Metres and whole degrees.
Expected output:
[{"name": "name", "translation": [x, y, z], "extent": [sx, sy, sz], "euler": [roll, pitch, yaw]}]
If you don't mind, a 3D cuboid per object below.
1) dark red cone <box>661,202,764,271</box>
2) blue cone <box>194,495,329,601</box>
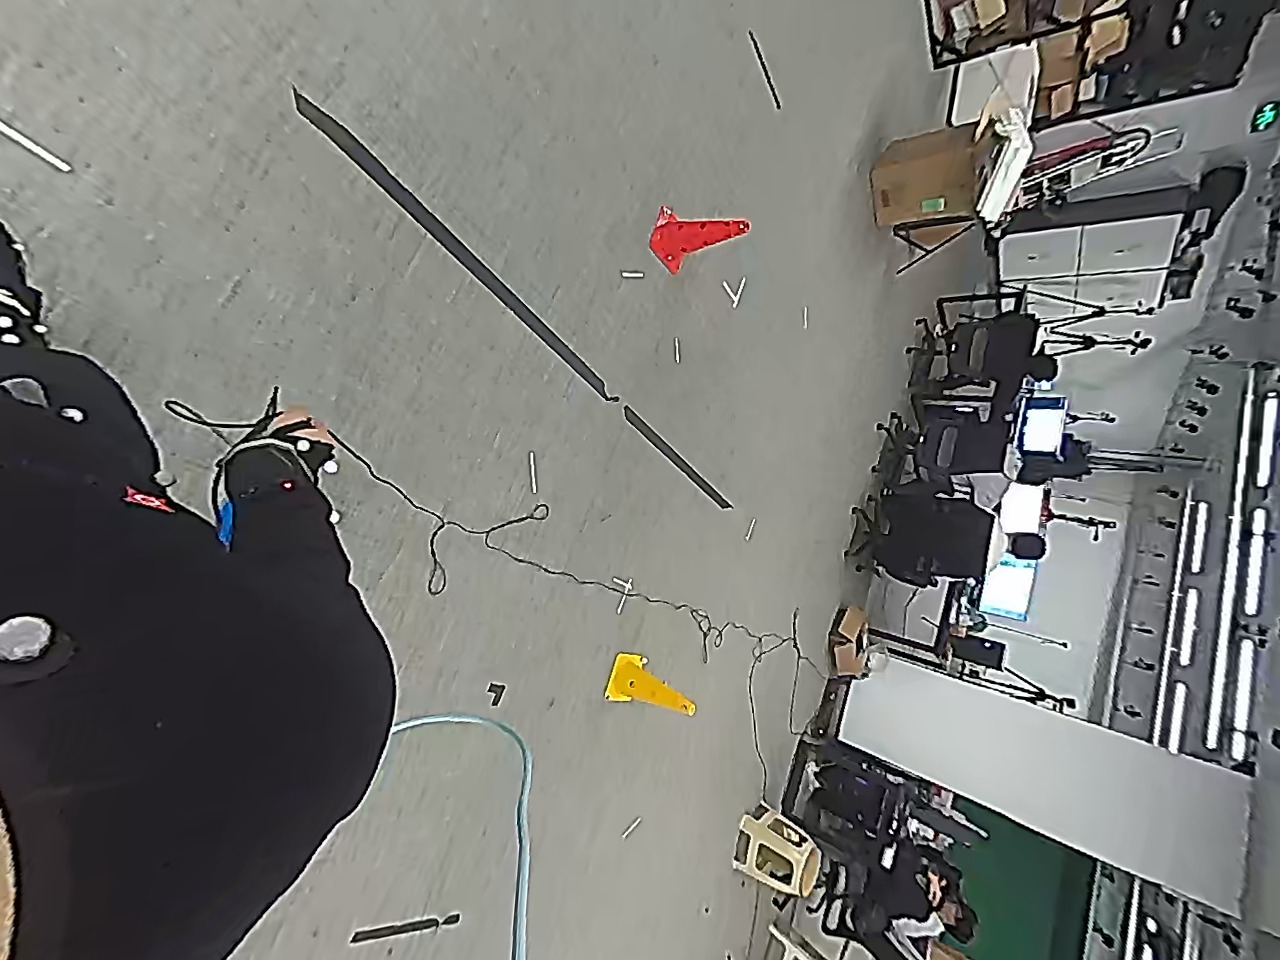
[{"name": "dark red cone", "translation": [0.284, -0.935, 2.039], "extent": [0.202, 0.394, 0.201], "euler": [28, 78, -50]}, {"name": "blue cone", "translation": [-0.725, 0.165, 1.105], "extent": [0.193, 0.380, 0.192], "euler": [40, 69, -47]}]
